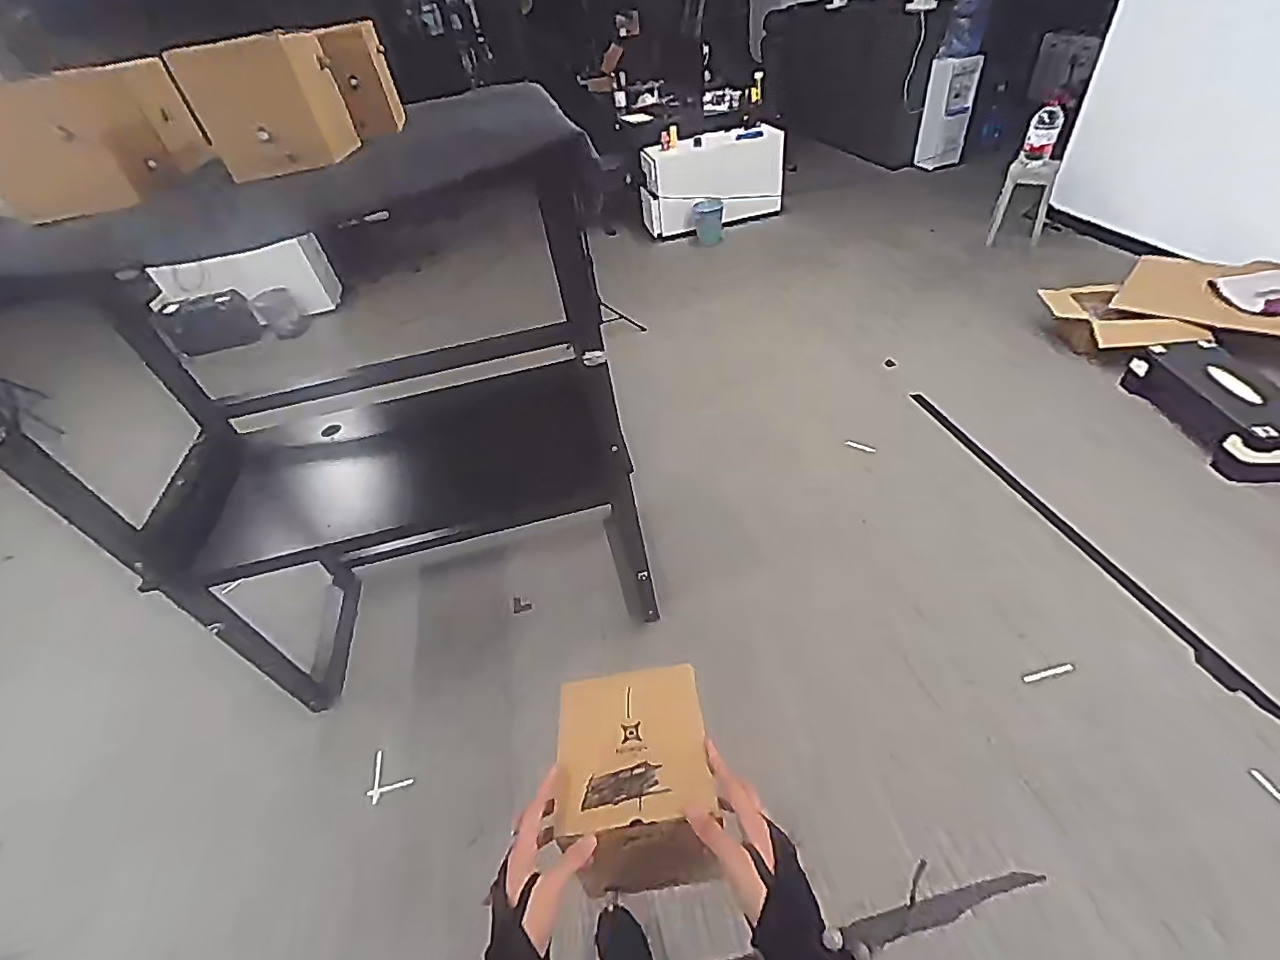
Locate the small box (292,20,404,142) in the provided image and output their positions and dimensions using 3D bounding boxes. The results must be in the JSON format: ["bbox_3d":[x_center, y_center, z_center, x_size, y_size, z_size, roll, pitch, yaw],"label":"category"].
[{"bbox_3d":[-0.570,-0.757,1.036,0.168,0.176,0.179,-14,44,-7],"label":"small box"}]

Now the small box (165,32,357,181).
[{"bbox_3d":[-0.588,-0.600,0.872,0.168,0.176,0.179,-12,42,-2],"label":"small box"}]

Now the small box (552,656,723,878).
[{"bbox_3d":[0.000,0.342,0.641,0.168,0.176,0.179,-10,36,1],"label":"small box"}]

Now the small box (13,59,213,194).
[{"bbox_3d":[-0.958,-0.659,1.008,0.179,0.176,0.168,-14,43,-3],"label":"small box"}]
